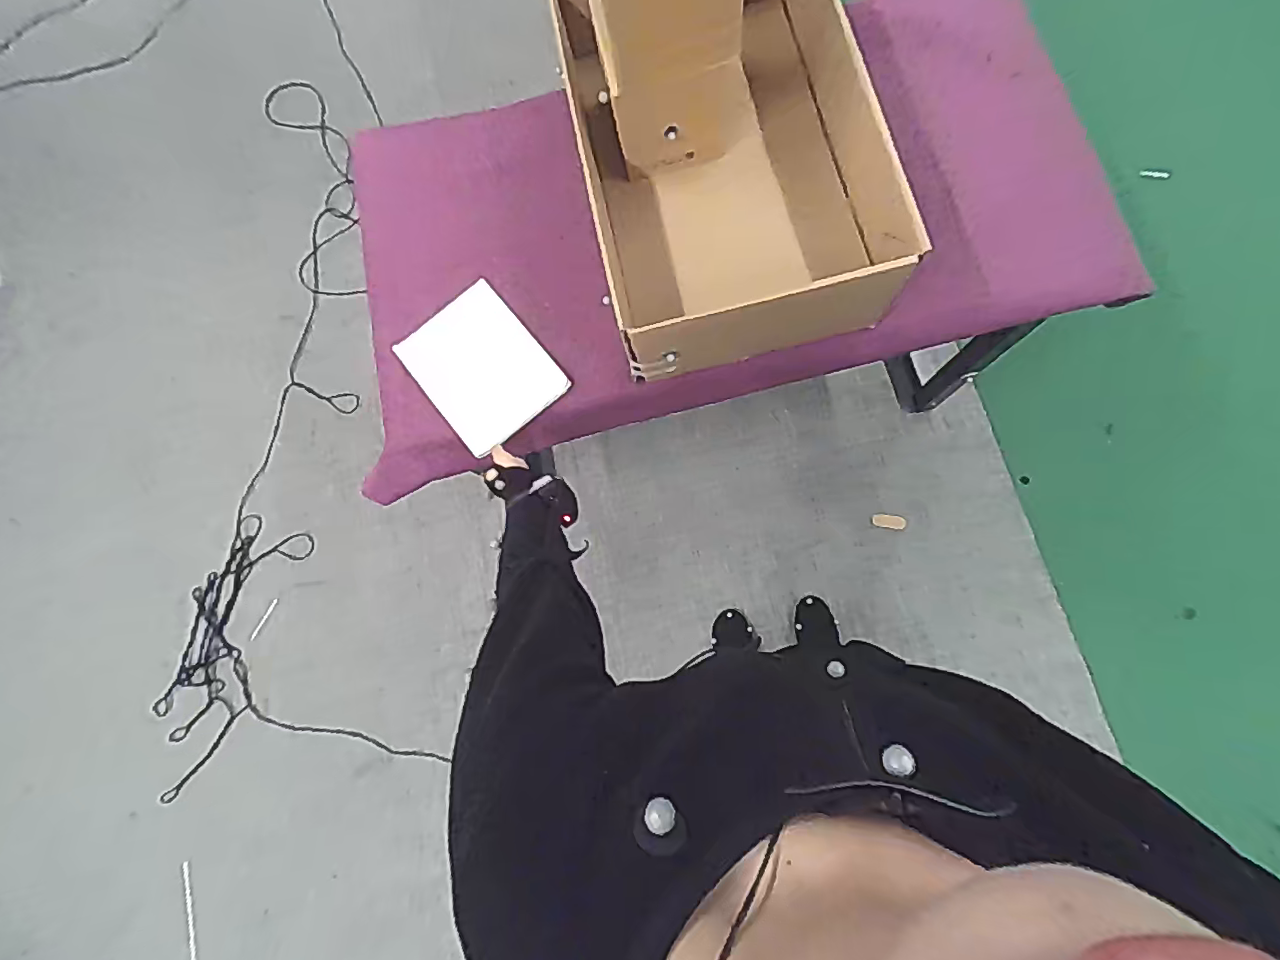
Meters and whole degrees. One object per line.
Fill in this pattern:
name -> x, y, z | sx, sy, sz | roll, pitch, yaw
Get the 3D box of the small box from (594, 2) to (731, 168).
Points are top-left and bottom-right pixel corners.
small box -> 0.039, -0.610, 0.819 | 0.168, 0.176, 0.179 | -13, 79, 5

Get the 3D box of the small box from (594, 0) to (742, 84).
small box -> 0.024, -0.636, 0.660 | 0.179, 0.176, 0.168 | -15, 79, 4
